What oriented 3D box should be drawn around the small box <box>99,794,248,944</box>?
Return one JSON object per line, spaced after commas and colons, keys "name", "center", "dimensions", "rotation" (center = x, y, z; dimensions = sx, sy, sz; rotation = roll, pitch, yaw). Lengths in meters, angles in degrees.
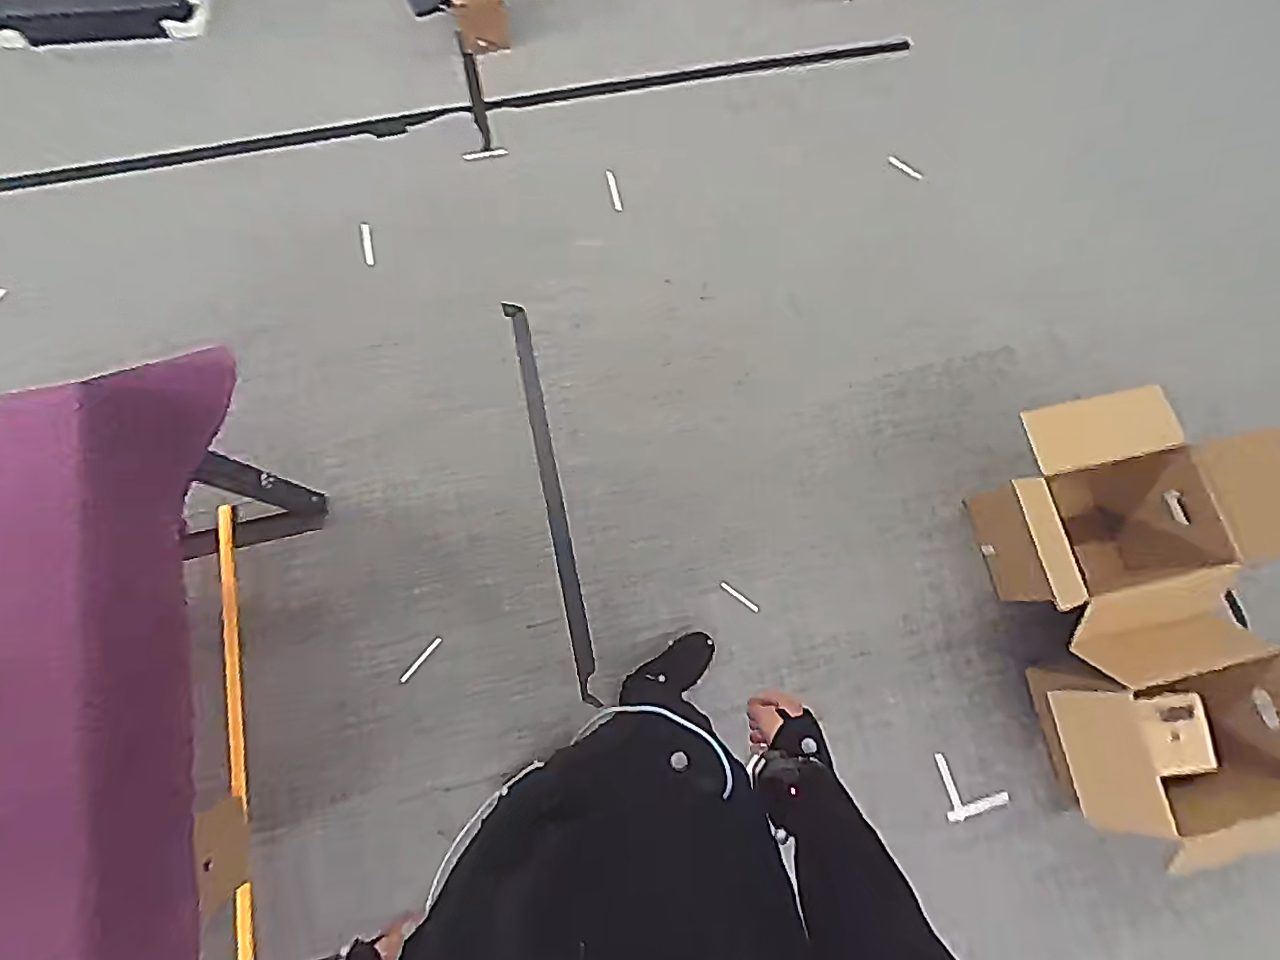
{"name": "small box", "center": [-0.942, 0.781, 1.106], "dimensions": [0.168, 0.176, 0.179], "rotation": [-15, 76, -6]}
